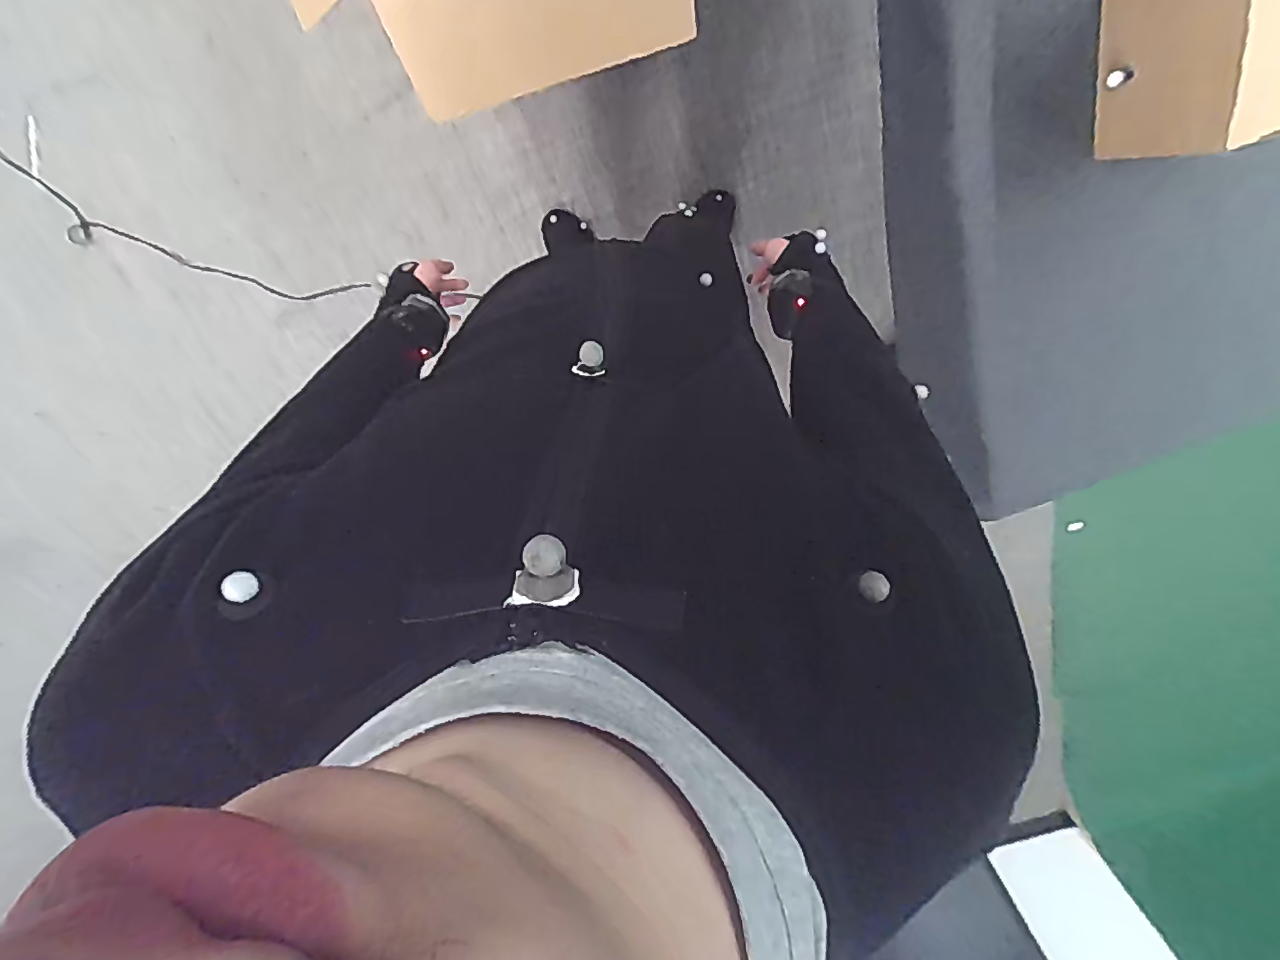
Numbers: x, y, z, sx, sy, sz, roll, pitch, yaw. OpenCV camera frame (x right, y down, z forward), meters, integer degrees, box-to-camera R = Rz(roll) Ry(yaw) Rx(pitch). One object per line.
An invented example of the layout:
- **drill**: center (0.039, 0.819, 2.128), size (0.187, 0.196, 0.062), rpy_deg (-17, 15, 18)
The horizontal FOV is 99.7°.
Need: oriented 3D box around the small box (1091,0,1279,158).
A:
- **small box**: center (0.618, -0.459, 0.561), size (0.168, 0.176, 0.179), rpy_deg (-18, 119, 6)
